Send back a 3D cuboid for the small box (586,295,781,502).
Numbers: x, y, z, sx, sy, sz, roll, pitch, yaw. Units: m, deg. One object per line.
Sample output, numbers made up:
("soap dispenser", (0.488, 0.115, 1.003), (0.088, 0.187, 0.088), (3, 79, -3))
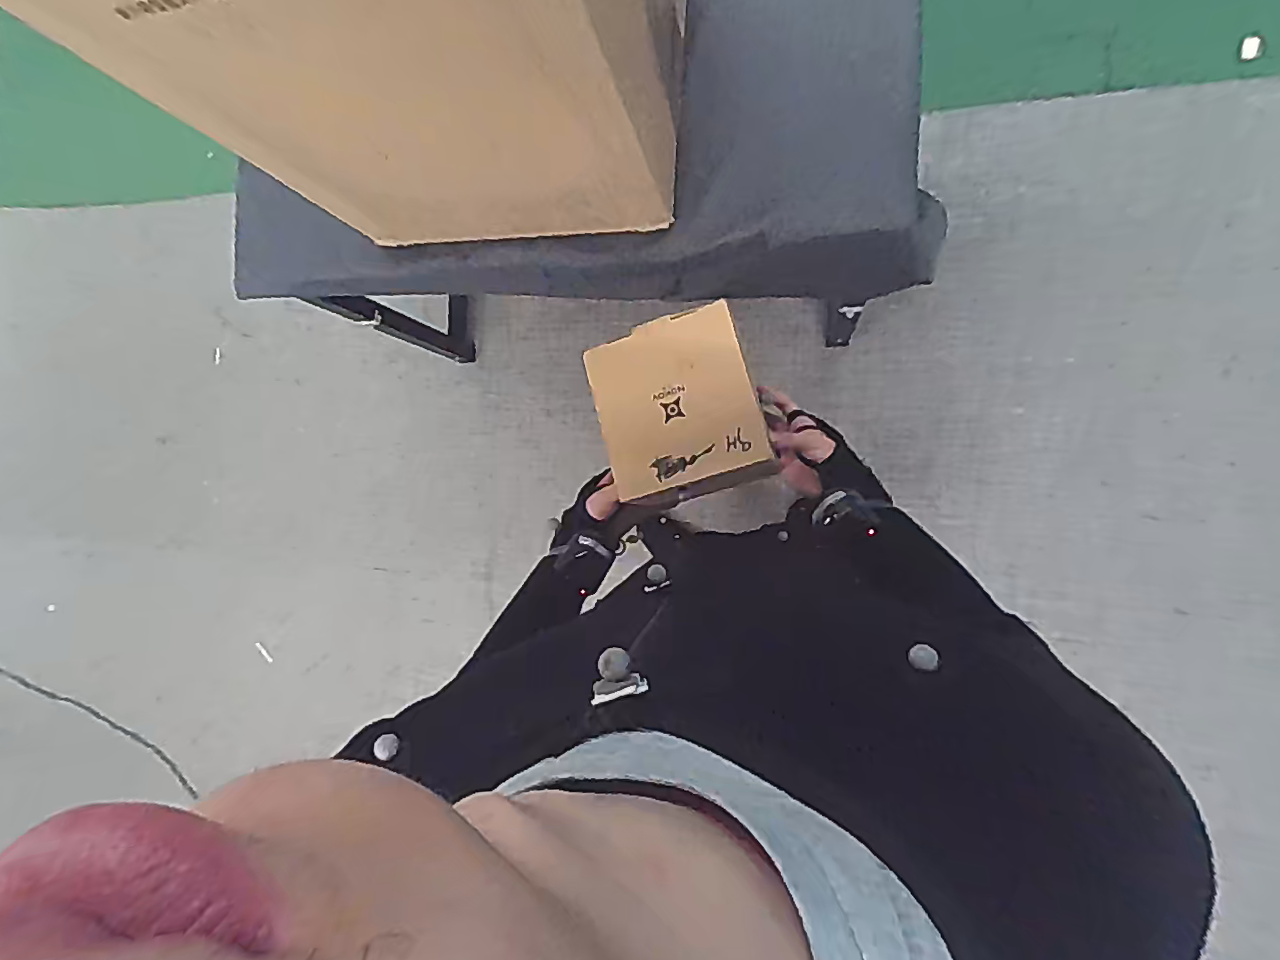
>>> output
("small box", (0.059, -0.079, 0.636), (0.168, 0.176, 0.179), (-18, 80, 17))
